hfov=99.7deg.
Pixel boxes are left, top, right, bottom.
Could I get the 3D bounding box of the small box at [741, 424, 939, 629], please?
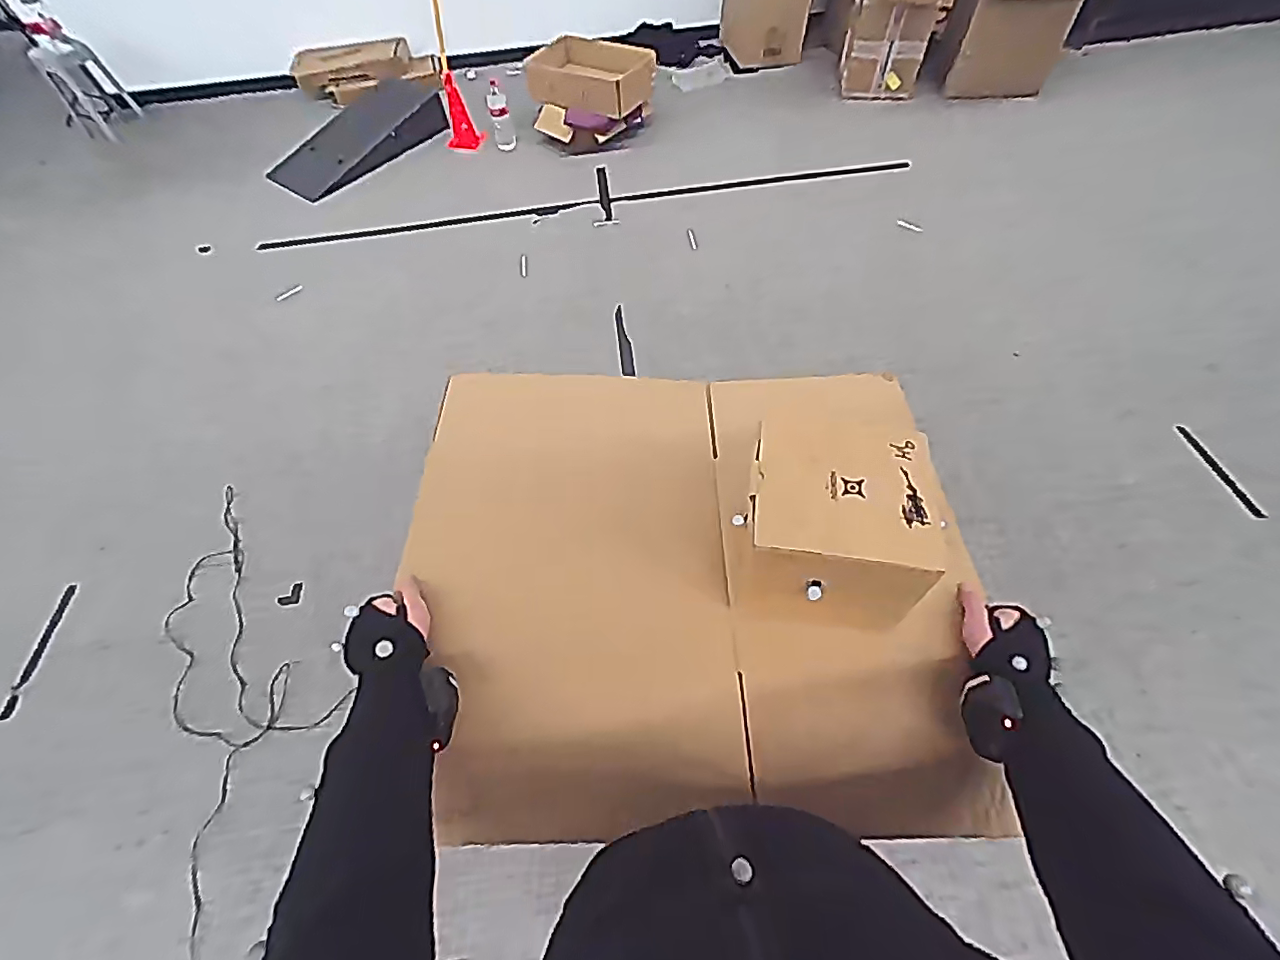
[{"bbox_3d":[0.211,0.057,0.617,0.179,0.176,0.168,6,56,10],"label":"small box"}]
